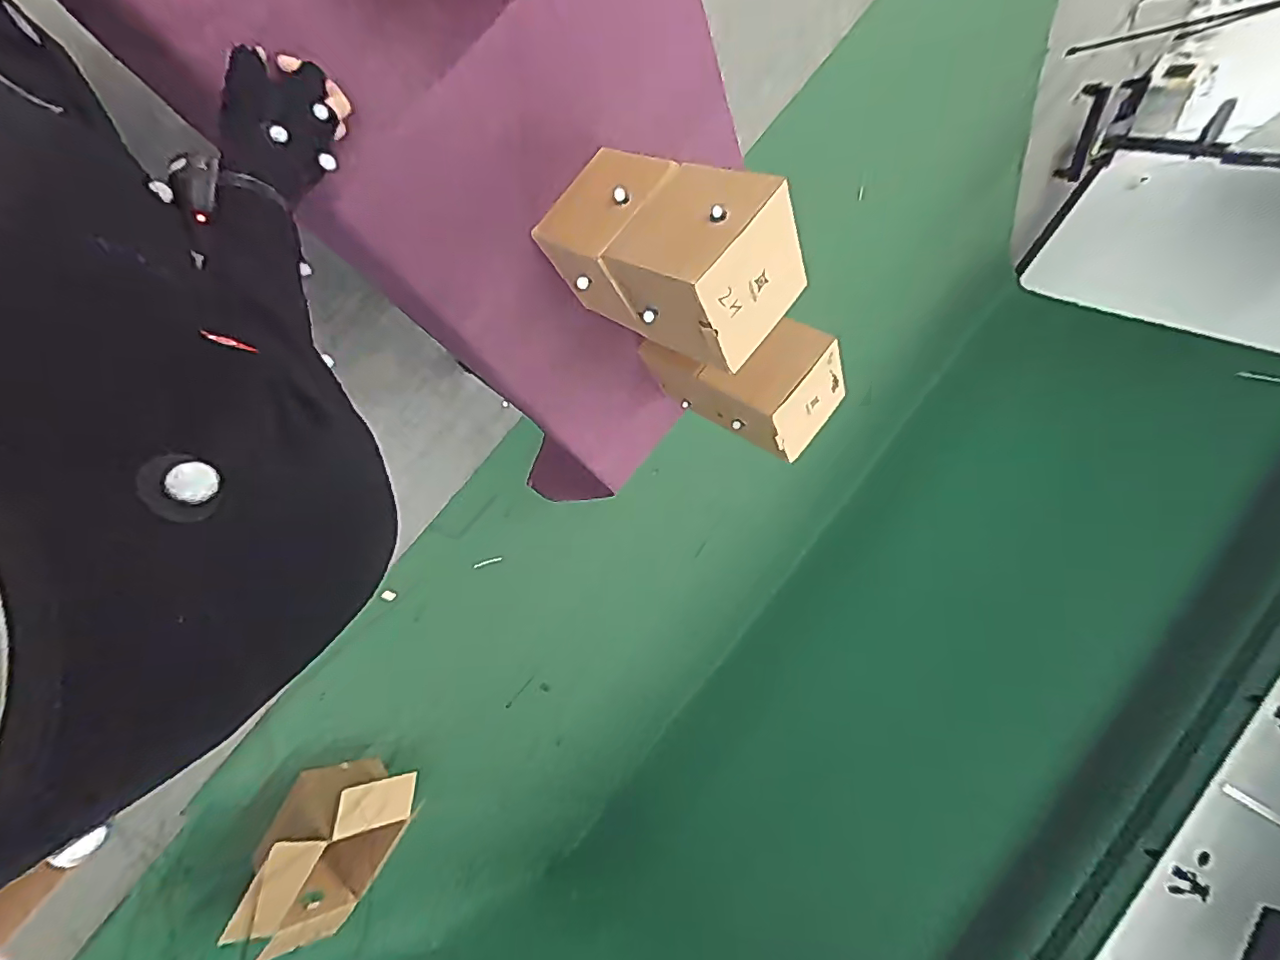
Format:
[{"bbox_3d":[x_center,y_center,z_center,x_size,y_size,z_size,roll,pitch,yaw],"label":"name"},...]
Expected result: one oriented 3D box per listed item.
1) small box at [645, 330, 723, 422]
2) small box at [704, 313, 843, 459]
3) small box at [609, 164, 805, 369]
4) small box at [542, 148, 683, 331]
[{"bbox_3d":[0.130,-0.253,1.075,0.179,0.176,0.168,-50,144,-7],"label":"small box"},{"bbox_3d":[0.235,-0.177,0.974,0.179,0.176,0.168,-49,145,-6],"label":"small box"},{"bbox_3d":[0.091,-0.288,0.721,0.179,0.176,0.168,-49,144,-7],"label":"small box"},{"bbox_3d":[-0.023,-0.362,0.815,0.179,0.176,0.168,-52,144,-4],"label":"small box"}]
